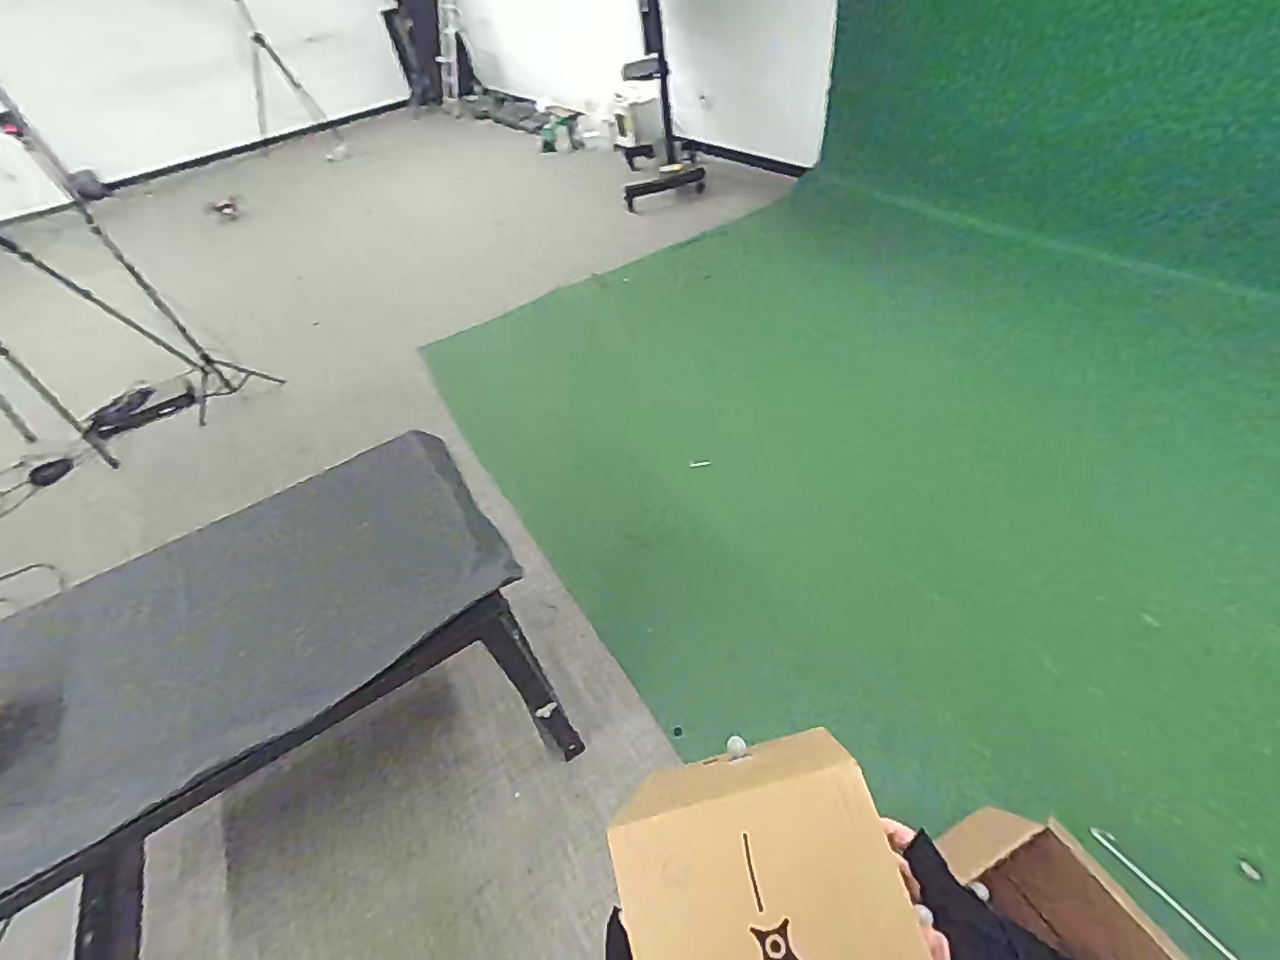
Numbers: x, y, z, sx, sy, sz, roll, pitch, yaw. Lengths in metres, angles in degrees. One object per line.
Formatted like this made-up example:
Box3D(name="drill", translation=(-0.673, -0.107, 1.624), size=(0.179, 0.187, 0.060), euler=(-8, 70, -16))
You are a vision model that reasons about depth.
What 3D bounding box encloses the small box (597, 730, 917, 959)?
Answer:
Box3D(name="small box", translation=(0.085, 0.296, 0.380), size=(0.168, 0.176, 0.179), euler=(-18, 69, 4))
